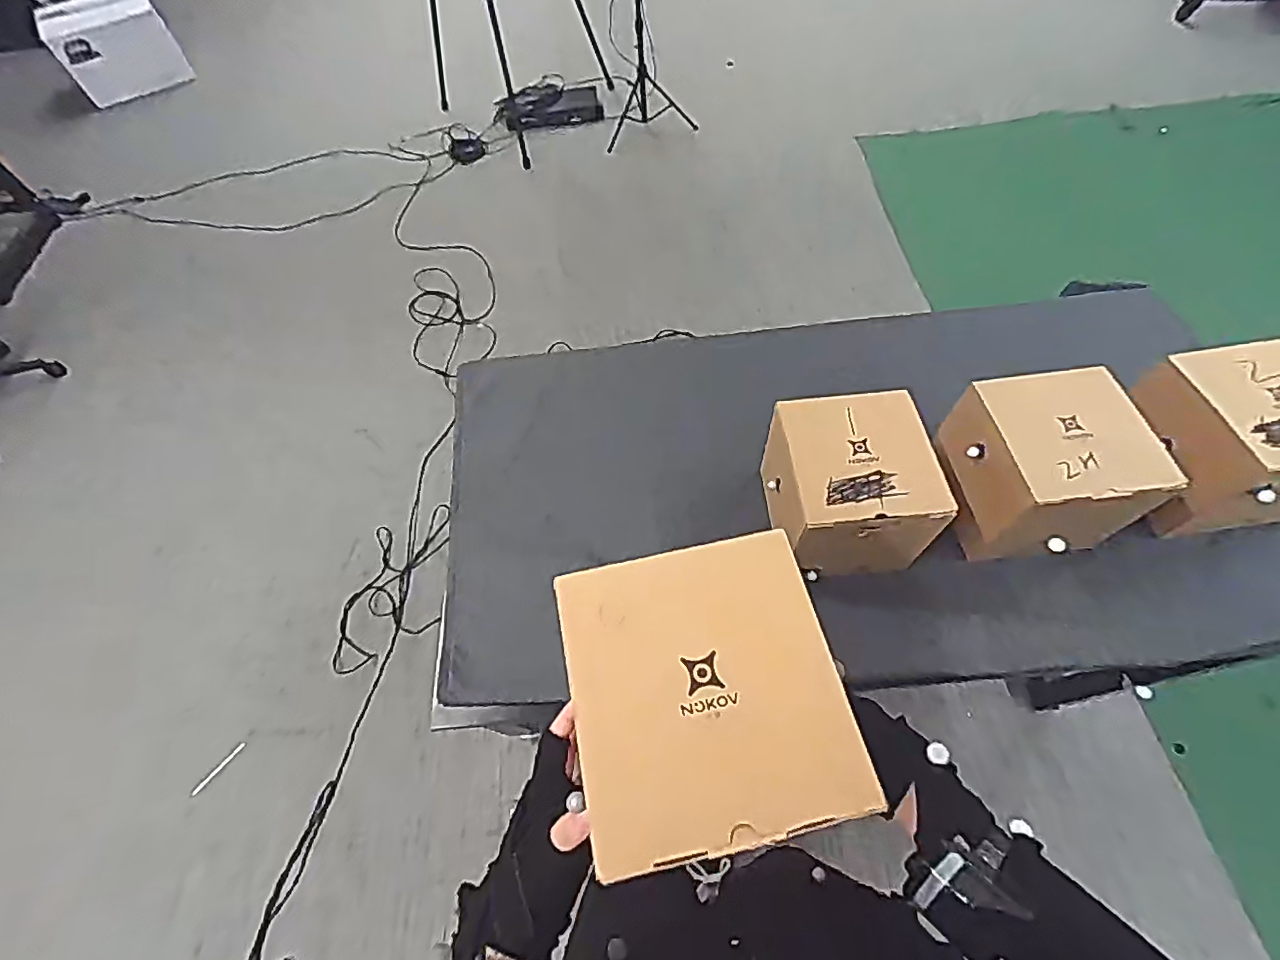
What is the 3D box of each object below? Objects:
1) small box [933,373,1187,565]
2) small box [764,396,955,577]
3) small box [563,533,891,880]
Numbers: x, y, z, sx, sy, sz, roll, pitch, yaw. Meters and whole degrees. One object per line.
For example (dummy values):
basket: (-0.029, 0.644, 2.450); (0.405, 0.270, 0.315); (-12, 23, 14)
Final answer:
small box: (0.503, -0.010, 0.690); (0.168, 0.176, 0.179); (-7, 59, 1)
small box: (0.262, 0.017, 0.695); (0.168, 0.176, 0.179); (-5, 58, 2)
small box: (0.044, 0.164, 0.401); (0.168, 0.176, 0.179); (-12, 61, -5)
